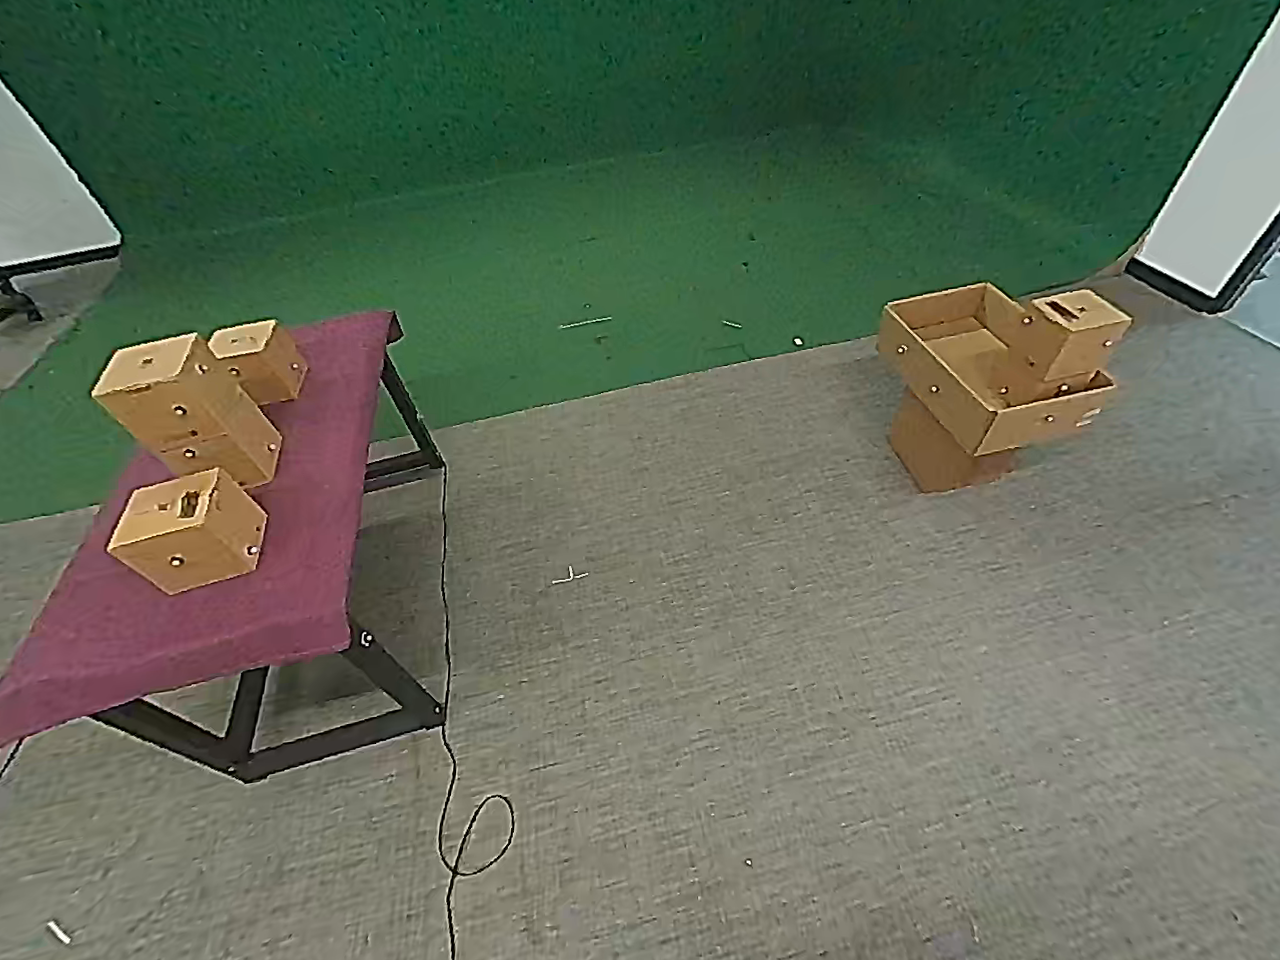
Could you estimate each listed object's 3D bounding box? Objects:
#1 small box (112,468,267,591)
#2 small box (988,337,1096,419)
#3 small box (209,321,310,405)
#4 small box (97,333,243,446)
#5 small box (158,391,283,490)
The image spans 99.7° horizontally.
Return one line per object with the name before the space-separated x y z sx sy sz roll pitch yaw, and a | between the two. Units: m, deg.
small box | -0.933 0.106 1.144 0.179 0.176 0.168 -17 48 -7
small box | 1.223 -0.311 1.662 0.179 0.176 0.168 -12 49 -3
small box | -1.102 -0.331 1.563 0.179 0.176 0.168 -12 48 -3
small box | -1.032 -0.195 1.209 0.168 0.176 0.179 -16 48 -8
small box | -1.018 -0.087 1.332 0.168 0.176 0.179 -17 48 -7
